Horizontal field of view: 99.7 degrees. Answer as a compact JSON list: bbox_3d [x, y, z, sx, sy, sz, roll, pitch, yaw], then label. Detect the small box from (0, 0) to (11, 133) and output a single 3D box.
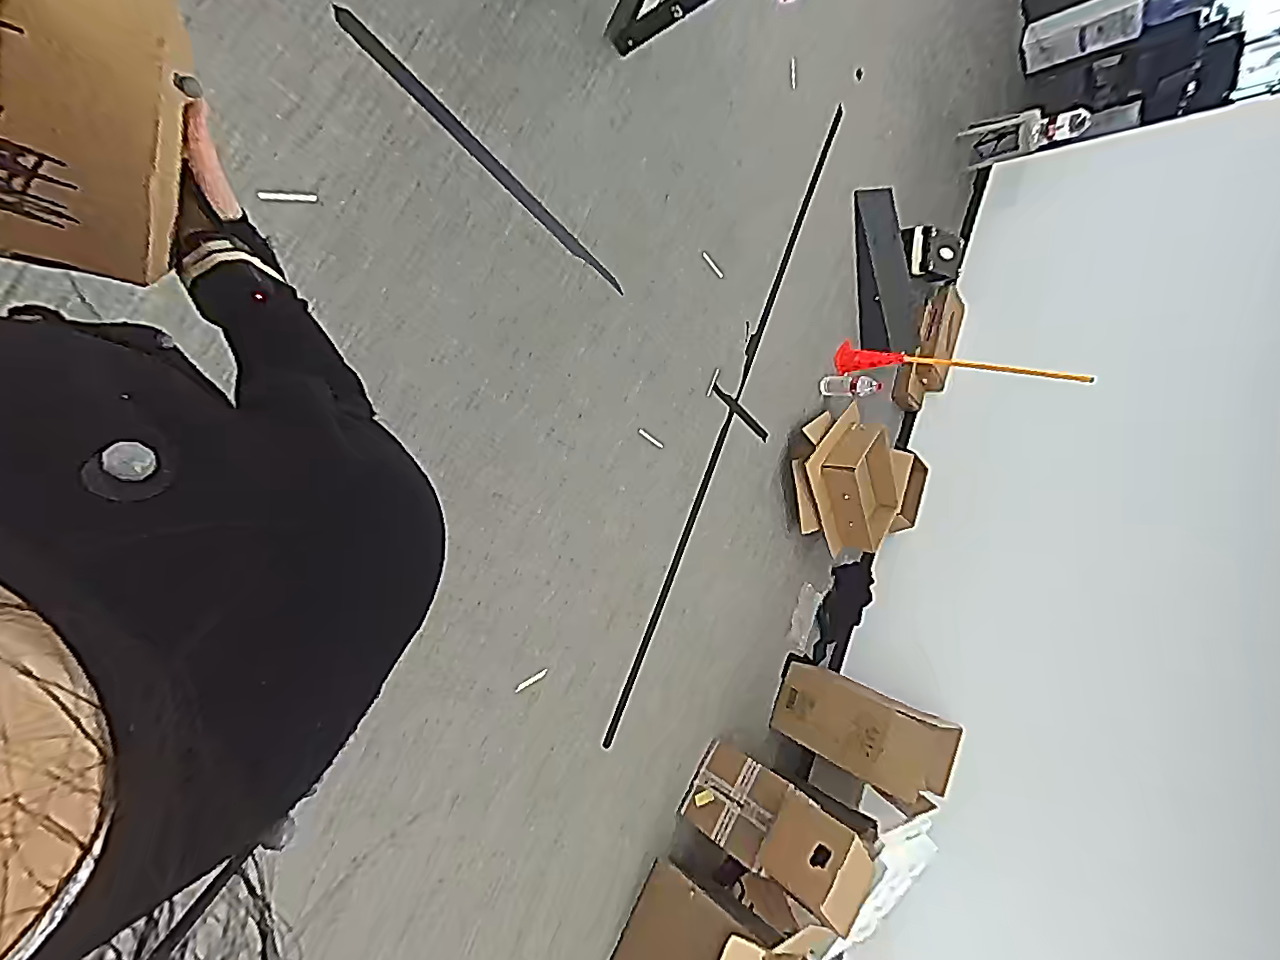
[{"bbox_3d":[-0.371,-0.174,0.191,0.168,0.176,0.179,9,108,-40],"label":"small box"}]
